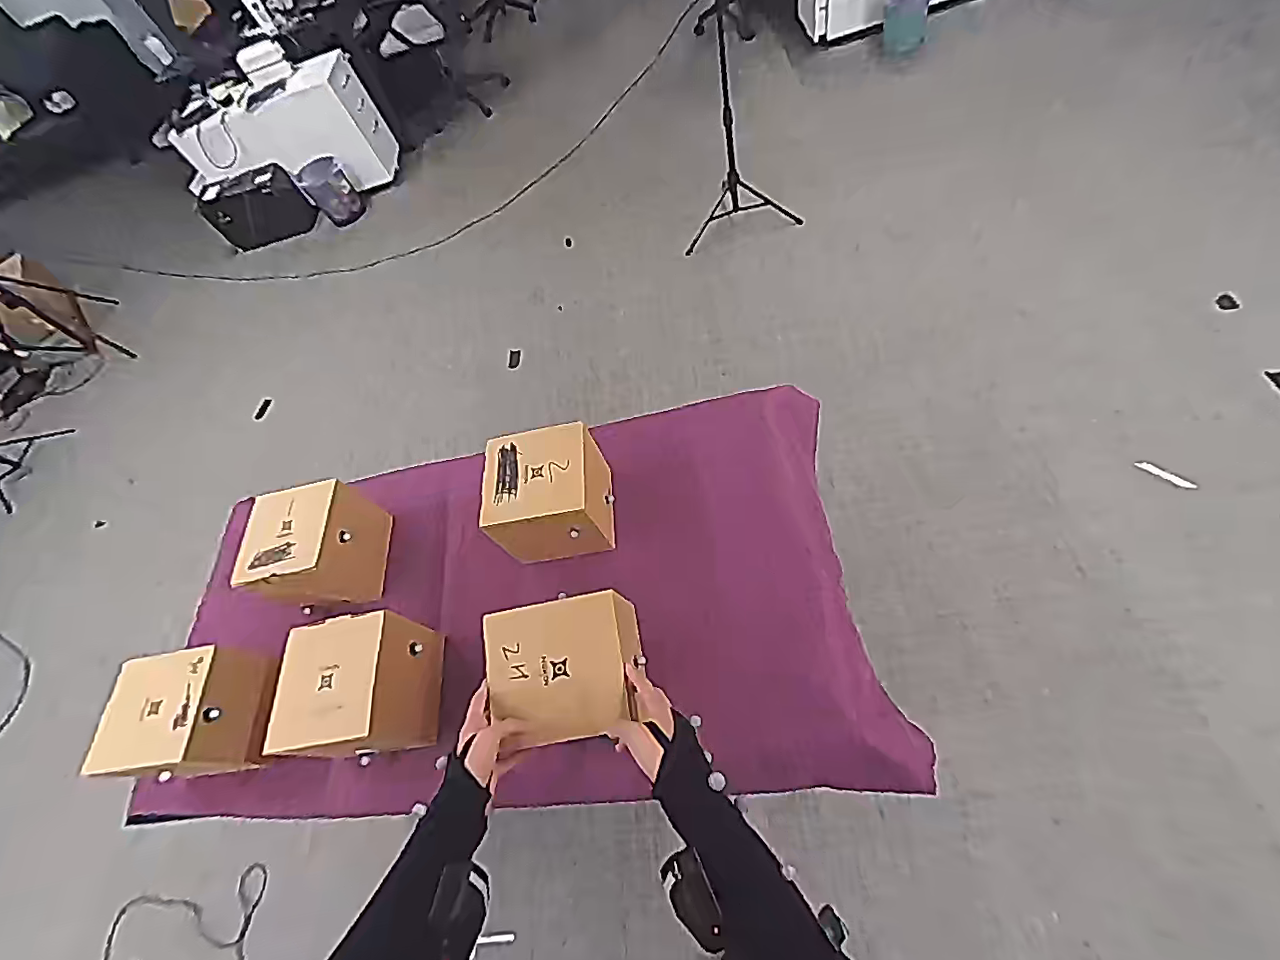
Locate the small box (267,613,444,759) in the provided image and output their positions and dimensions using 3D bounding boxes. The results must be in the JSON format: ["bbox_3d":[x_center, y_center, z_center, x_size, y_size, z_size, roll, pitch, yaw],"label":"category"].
[{"bbox_3d":[-0.425,0.326,0.841,0.168,0.176,0.179,-13,60,9],"label":"small box"}]

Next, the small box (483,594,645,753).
[{"bbox_3d":[-0.094,0.260,0.740,0.179,0.176,0.168,-13,68,5],"label":"small box"}]

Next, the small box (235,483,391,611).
[{"bbox_3d":[-0.589,0.132,1.000,0.168,0.176,0.179,-12,58,8],"label":"small box"}]

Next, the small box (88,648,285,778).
[{"bbox_3d":[-0.712,0.386,0.884,0.179,0.176,0.168,-12,59,10],"label":"small box"}]
